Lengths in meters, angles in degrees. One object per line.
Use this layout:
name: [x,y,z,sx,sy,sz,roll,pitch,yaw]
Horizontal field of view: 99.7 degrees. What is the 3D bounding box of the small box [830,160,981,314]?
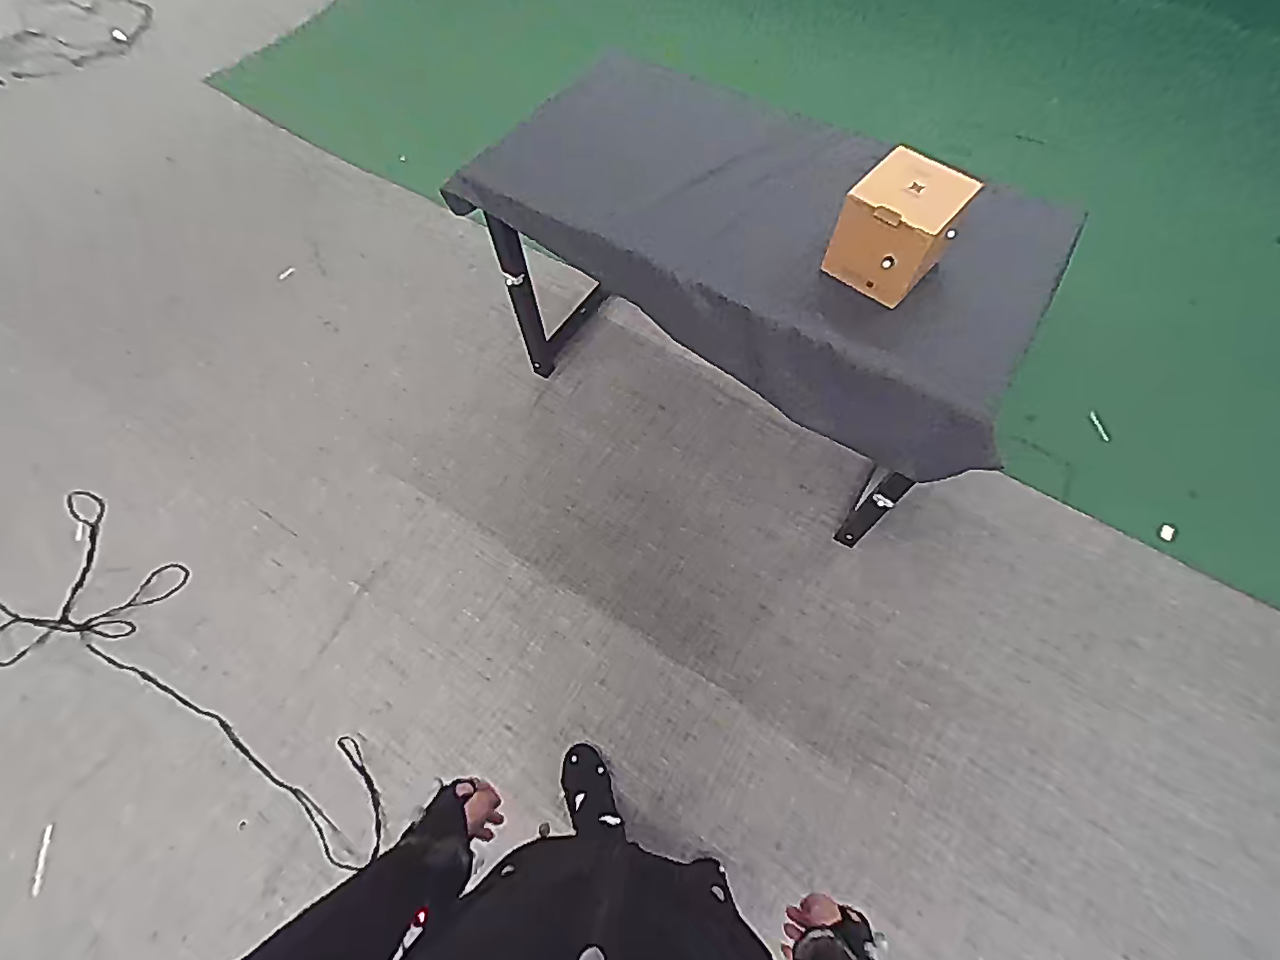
small box: [0.481,-0.448,1.010,0.168,0.176,0.179,39,69,17]
